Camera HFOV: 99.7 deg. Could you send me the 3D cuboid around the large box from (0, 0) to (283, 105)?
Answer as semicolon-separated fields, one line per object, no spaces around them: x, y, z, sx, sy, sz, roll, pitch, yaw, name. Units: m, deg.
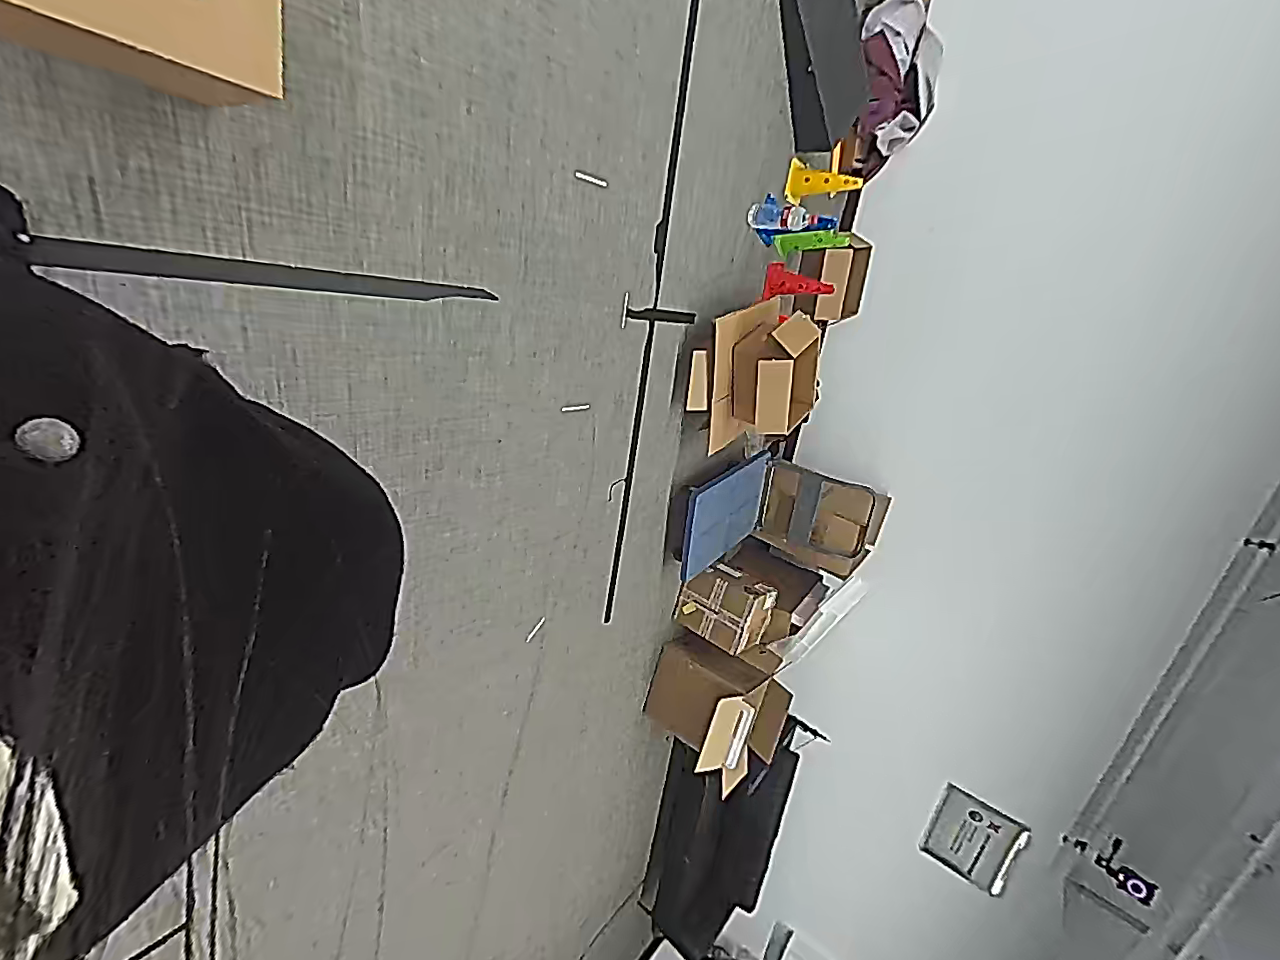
-0.810;-0.797;0.780;0.408;0.320;0.320;-14;120;-52;large box
